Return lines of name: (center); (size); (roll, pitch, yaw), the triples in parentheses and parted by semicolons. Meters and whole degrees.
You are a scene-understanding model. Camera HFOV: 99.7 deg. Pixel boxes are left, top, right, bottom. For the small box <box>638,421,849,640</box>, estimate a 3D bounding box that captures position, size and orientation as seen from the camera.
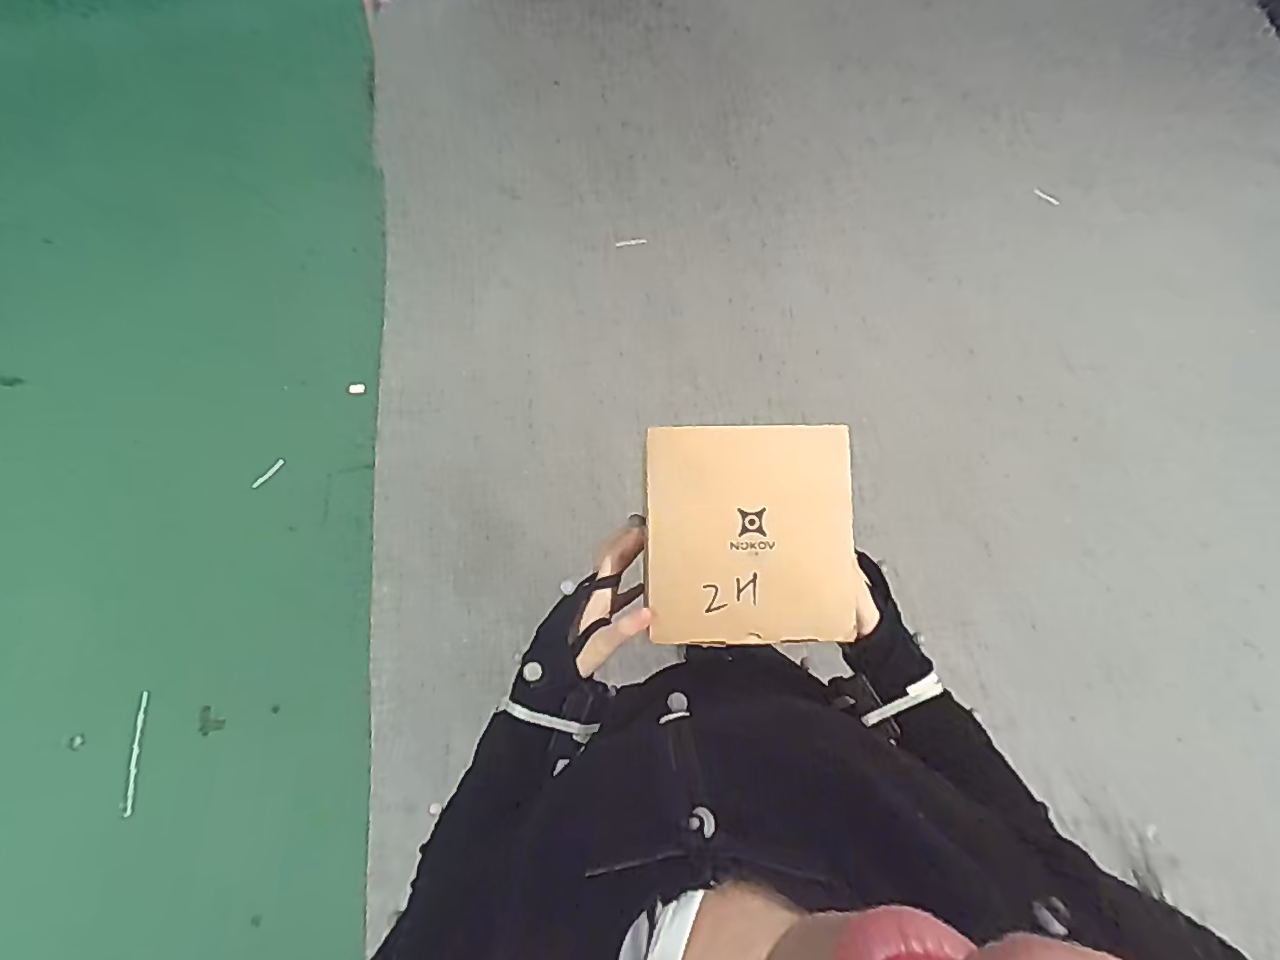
small box: (0.083, 0.046, 0.516); (0.168, 0.176, 0.179); (-1, 86, -1)
